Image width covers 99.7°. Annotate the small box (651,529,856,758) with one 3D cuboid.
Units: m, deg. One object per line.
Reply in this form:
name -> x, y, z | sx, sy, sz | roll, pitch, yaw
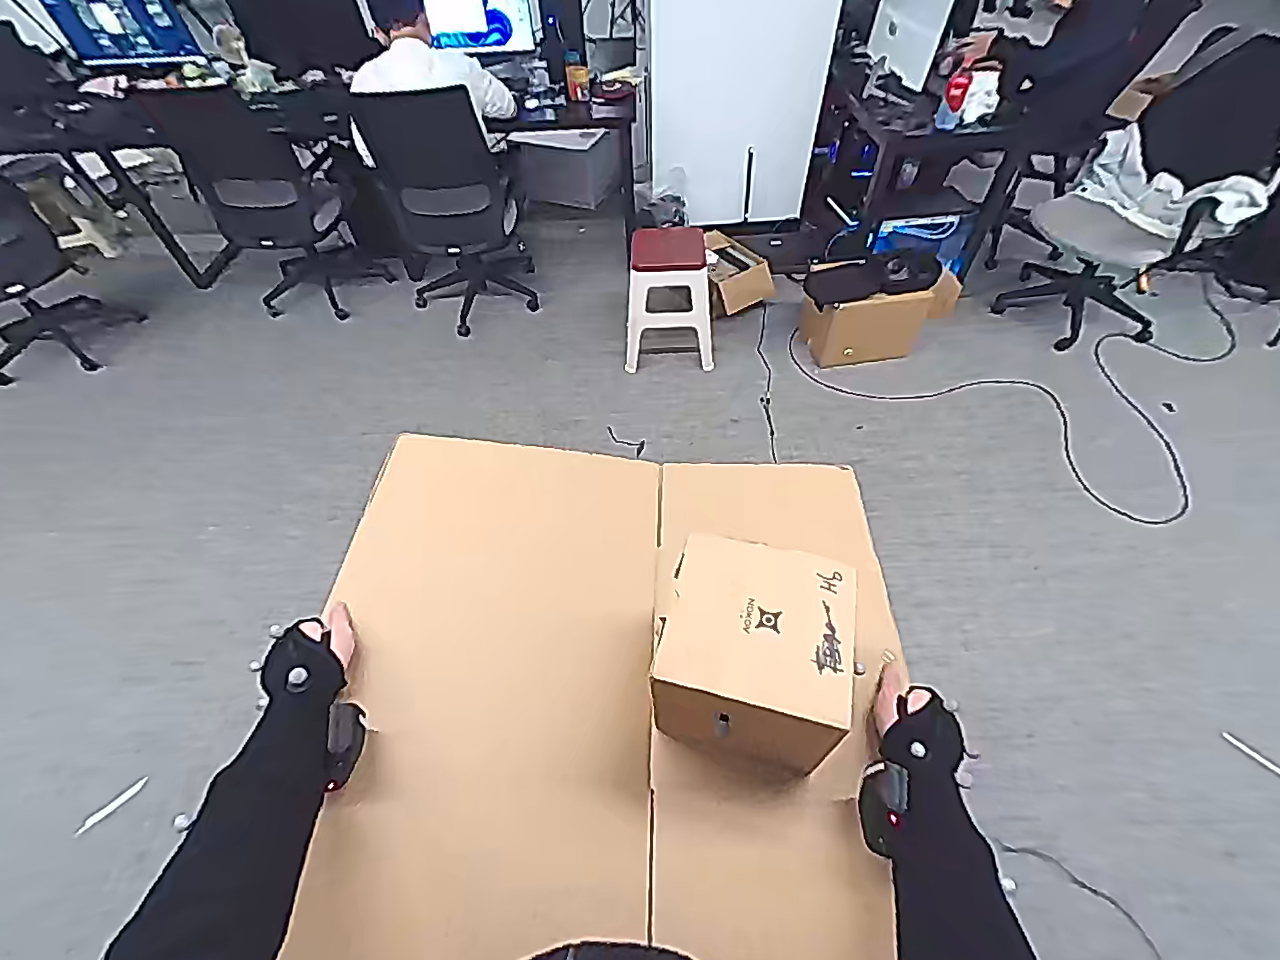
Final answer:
small box -> 0.121, 0.179, 0.584 | 0.179, 0.176, 0.168 | 10, 53, 13
